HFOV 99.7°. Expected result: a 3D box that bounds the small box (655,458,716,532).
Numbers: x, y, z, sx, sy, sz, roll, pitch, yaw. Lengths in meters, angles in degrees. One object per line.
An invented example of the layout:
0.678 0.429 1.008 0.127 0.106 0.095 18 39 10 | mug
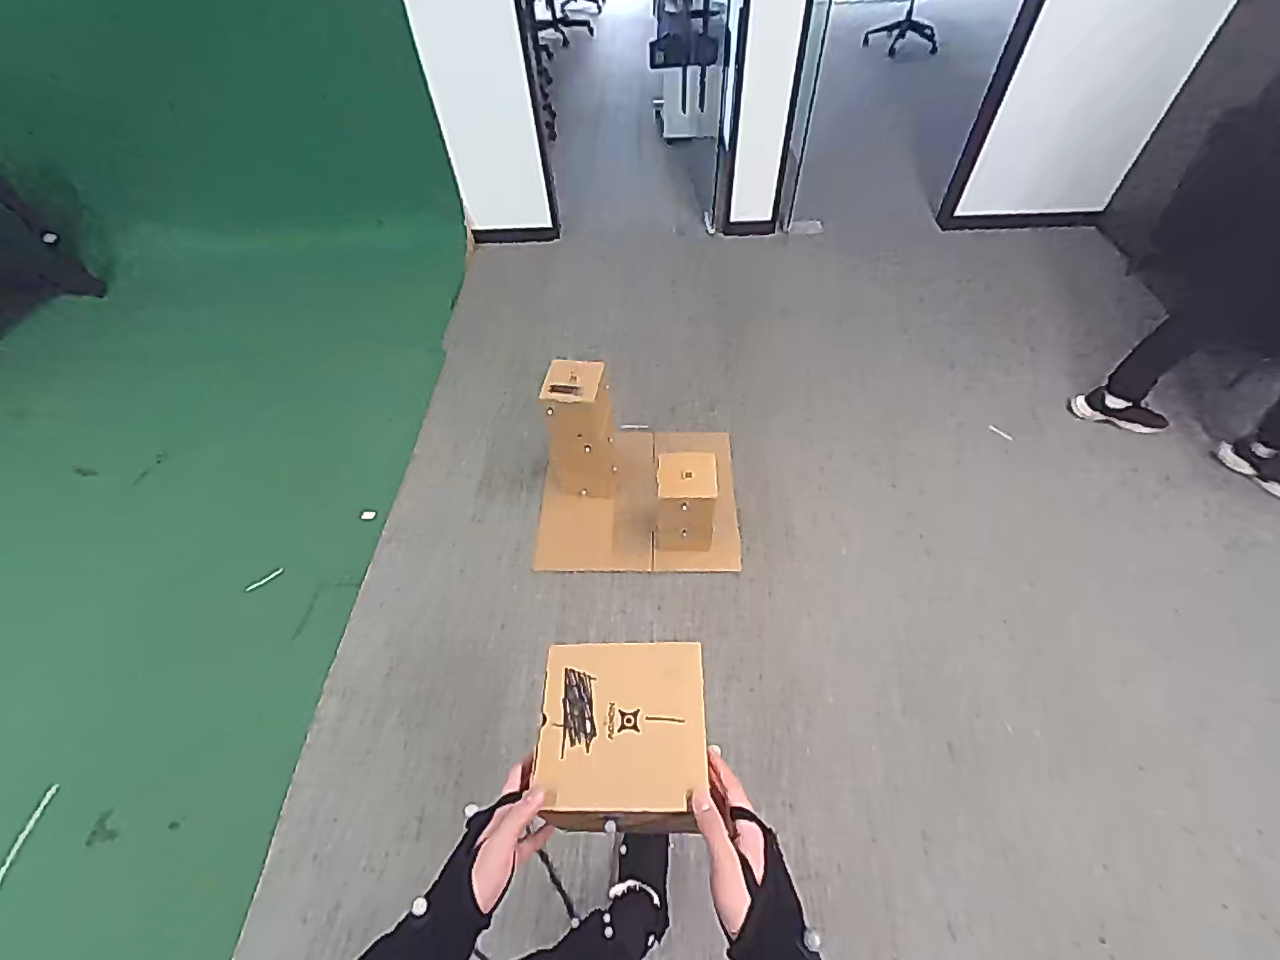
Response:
0.137 0.048 1.655 0.179 0.176 0.168 -1 54 3 | small box

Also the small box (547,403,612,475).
-0.193 -0.133 1.797 0.179 0.176 0.168 6 53 7 | small box

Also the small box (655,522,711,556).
0.143 0.139 1.788 0.179 0.176 0.168 1 53 3 | small box

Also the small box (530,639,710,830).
-0.011 0.296 0.622 0.179 0.176 0.168 -2 51 4 | small box

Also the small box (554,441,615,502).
-0.191 -0.038 1.933 0.179 0.176 0.168 7 53 7 | small box
